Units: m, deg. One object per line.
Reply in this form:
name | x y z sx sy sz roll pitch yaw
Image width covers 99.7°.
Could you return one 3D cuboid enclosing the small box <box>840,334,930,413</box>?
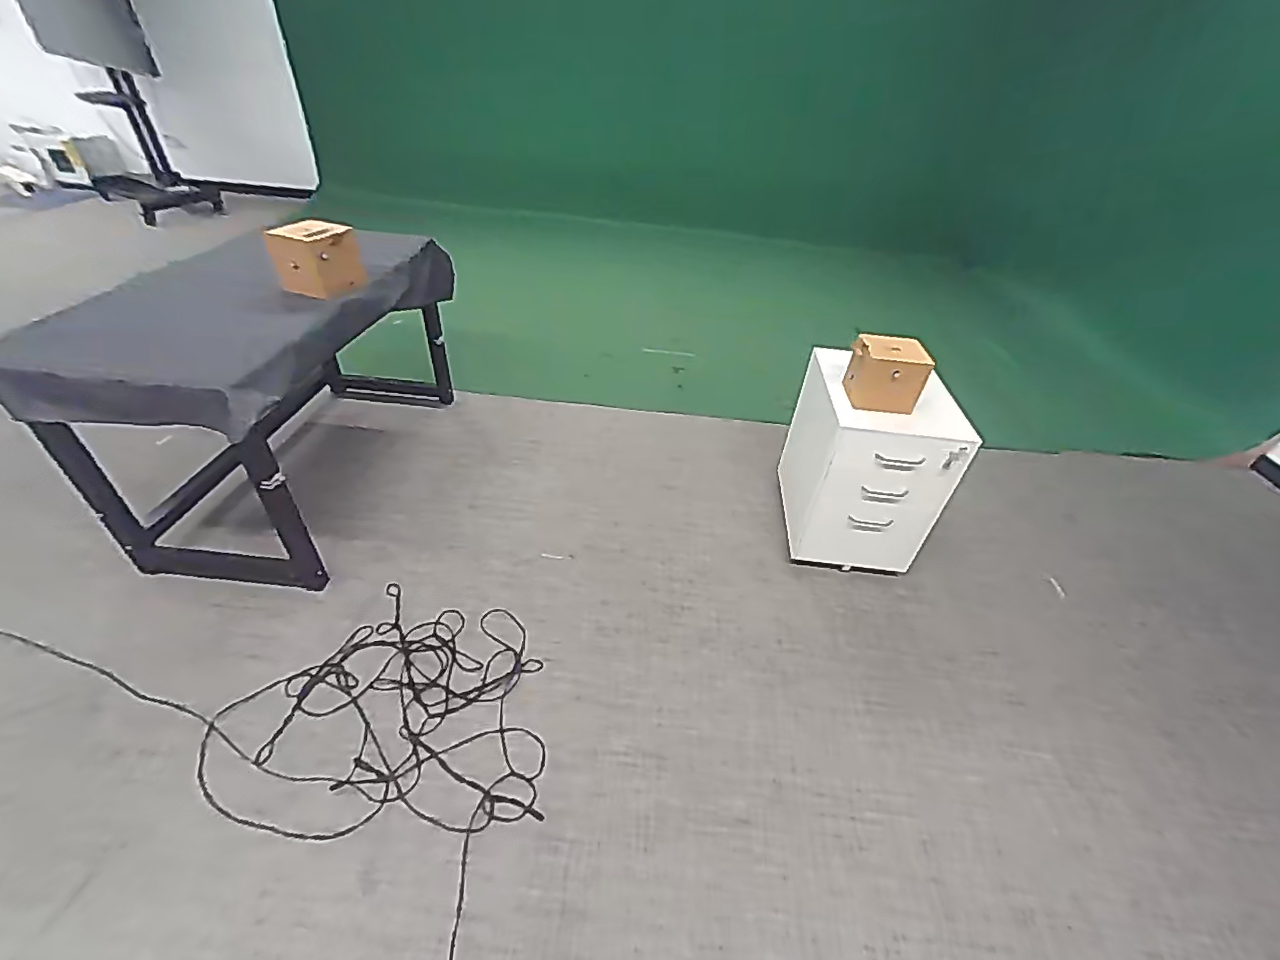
small box | 0.716 -0.312 1.600 0.179 0.176 0.168 6 40 1
